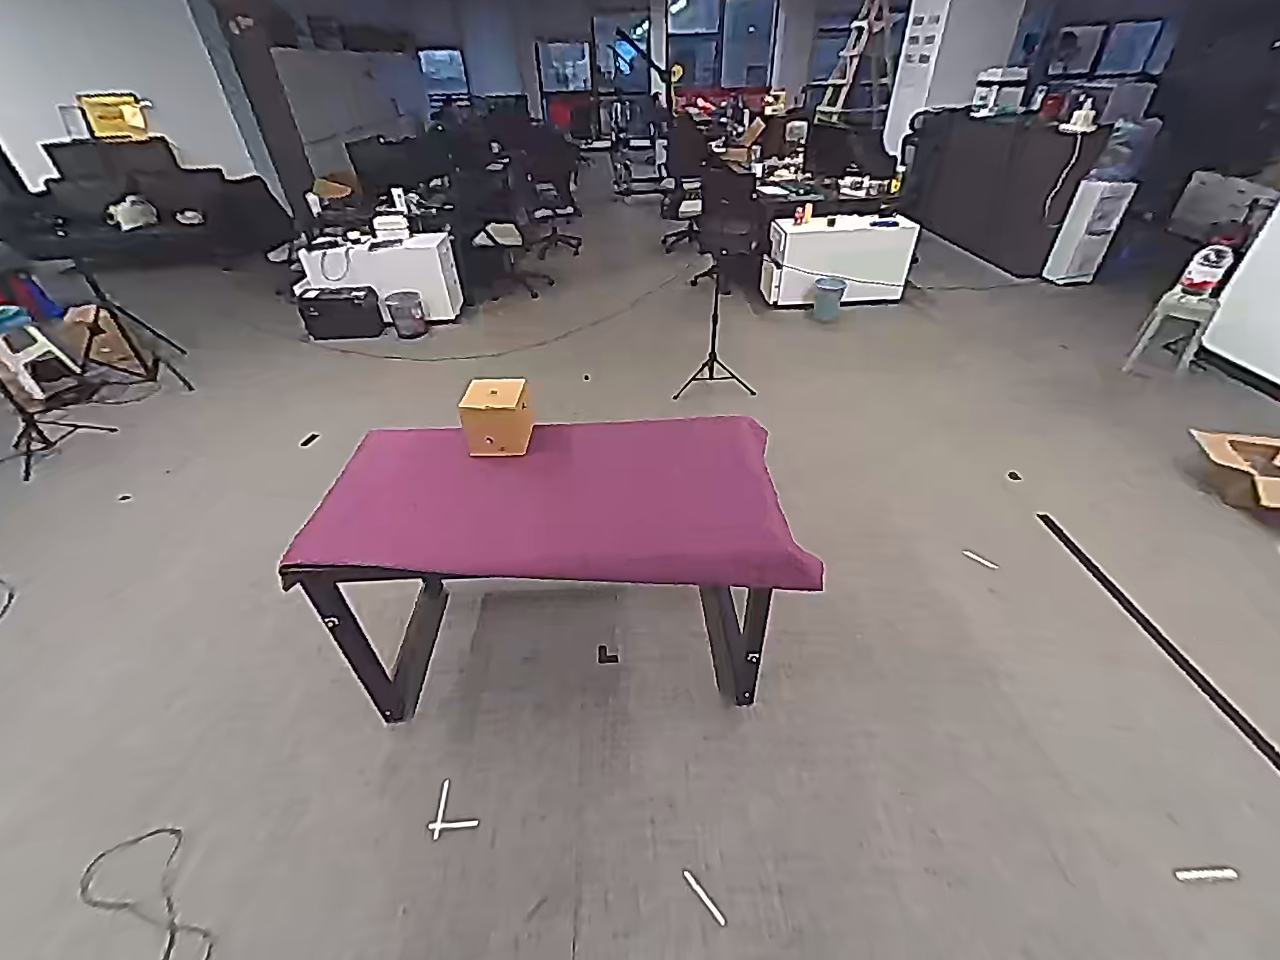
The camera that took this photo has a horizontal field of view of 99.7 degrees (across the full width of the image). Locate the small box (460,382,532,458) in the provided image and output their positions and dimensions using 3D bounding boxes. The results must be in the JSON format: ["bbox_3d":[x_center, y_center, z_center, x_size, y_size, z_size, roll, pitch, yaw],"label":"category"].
[{"bbox_3d":[-0.427,-0.183,1.637,0.168,0.176,0.179,-1,38,1],"label":"small box"}]
